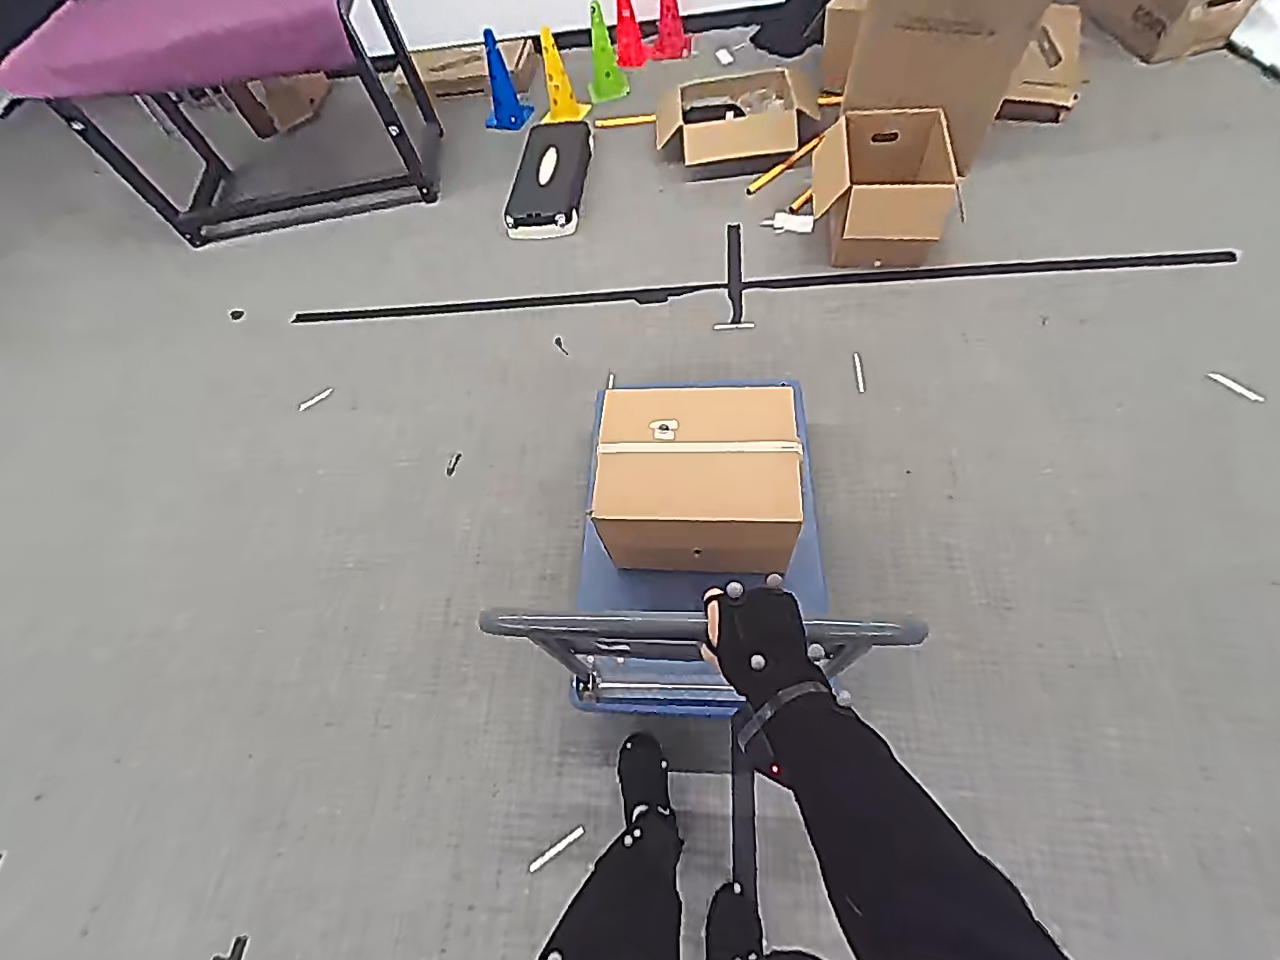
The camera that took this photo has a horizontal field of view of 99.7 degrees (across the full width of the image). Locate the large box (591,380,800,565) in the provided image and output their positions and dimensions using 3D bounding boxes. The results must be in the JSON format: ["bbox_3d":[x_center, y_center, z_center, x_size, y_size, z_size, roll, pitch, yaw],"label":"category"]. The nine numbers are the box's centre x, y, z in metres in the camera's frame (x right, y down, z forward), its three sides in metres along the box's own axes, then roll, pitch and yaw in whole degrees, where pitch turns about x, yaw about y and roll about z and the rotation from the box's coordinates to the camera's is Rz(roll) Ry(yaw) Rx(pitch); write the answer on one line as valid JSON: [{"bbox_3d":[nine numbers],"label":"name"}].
[{"bbox_3d":[0.129,0.000,1.222,0.408,0.320,0.320,-1,61,9],"label":"large box"}]
